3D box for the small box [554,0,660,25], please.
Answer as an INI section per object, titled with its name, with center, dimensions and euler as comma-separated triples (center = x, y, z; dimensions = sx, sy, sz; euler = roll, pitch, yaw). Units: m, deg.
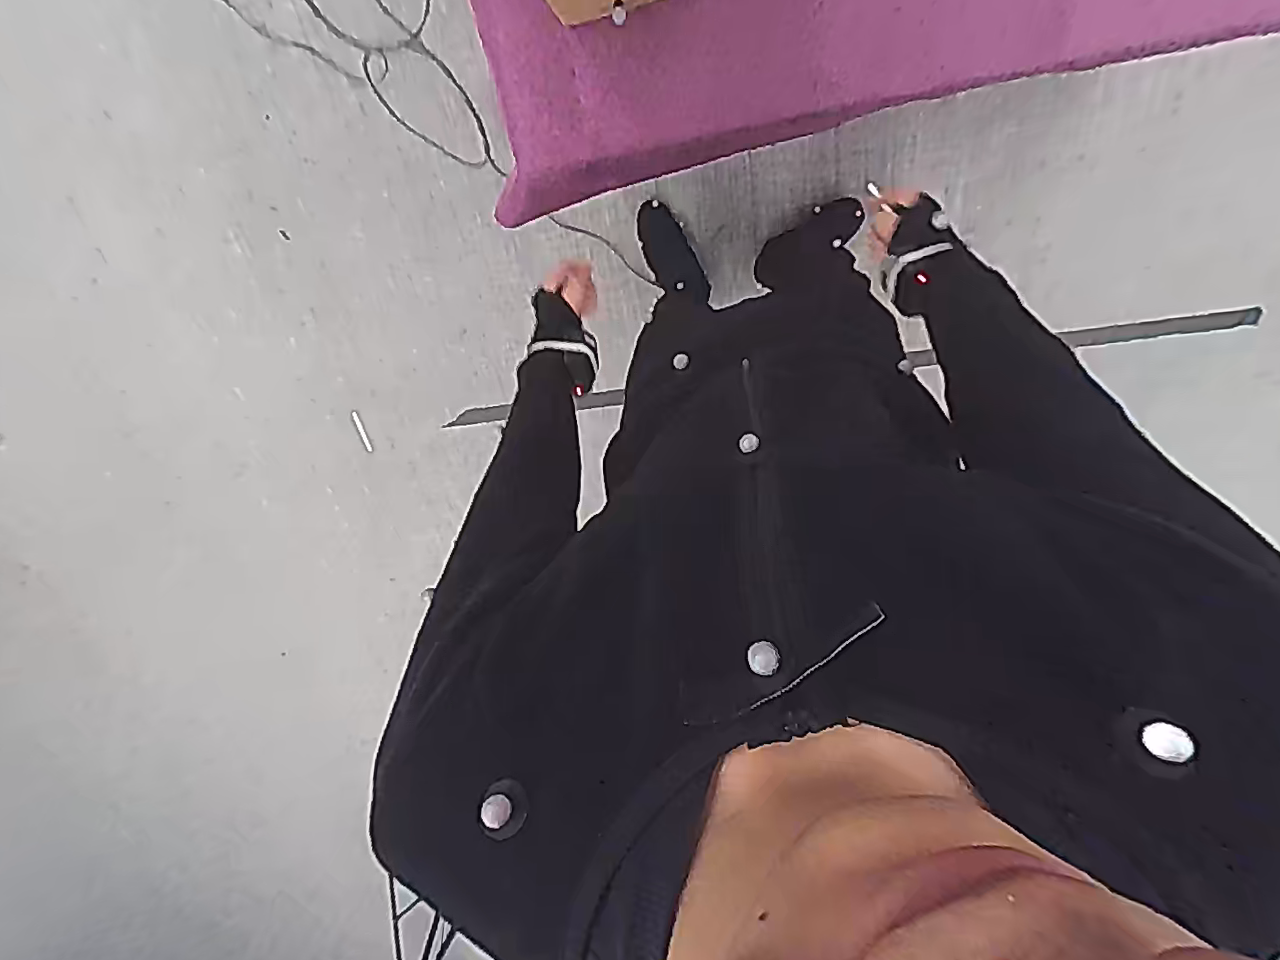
[small box]
center = -0.032, -0.577, 0.510
dimensions = 0.168, 0.176, 0.179
euler = -11, 119, 8
